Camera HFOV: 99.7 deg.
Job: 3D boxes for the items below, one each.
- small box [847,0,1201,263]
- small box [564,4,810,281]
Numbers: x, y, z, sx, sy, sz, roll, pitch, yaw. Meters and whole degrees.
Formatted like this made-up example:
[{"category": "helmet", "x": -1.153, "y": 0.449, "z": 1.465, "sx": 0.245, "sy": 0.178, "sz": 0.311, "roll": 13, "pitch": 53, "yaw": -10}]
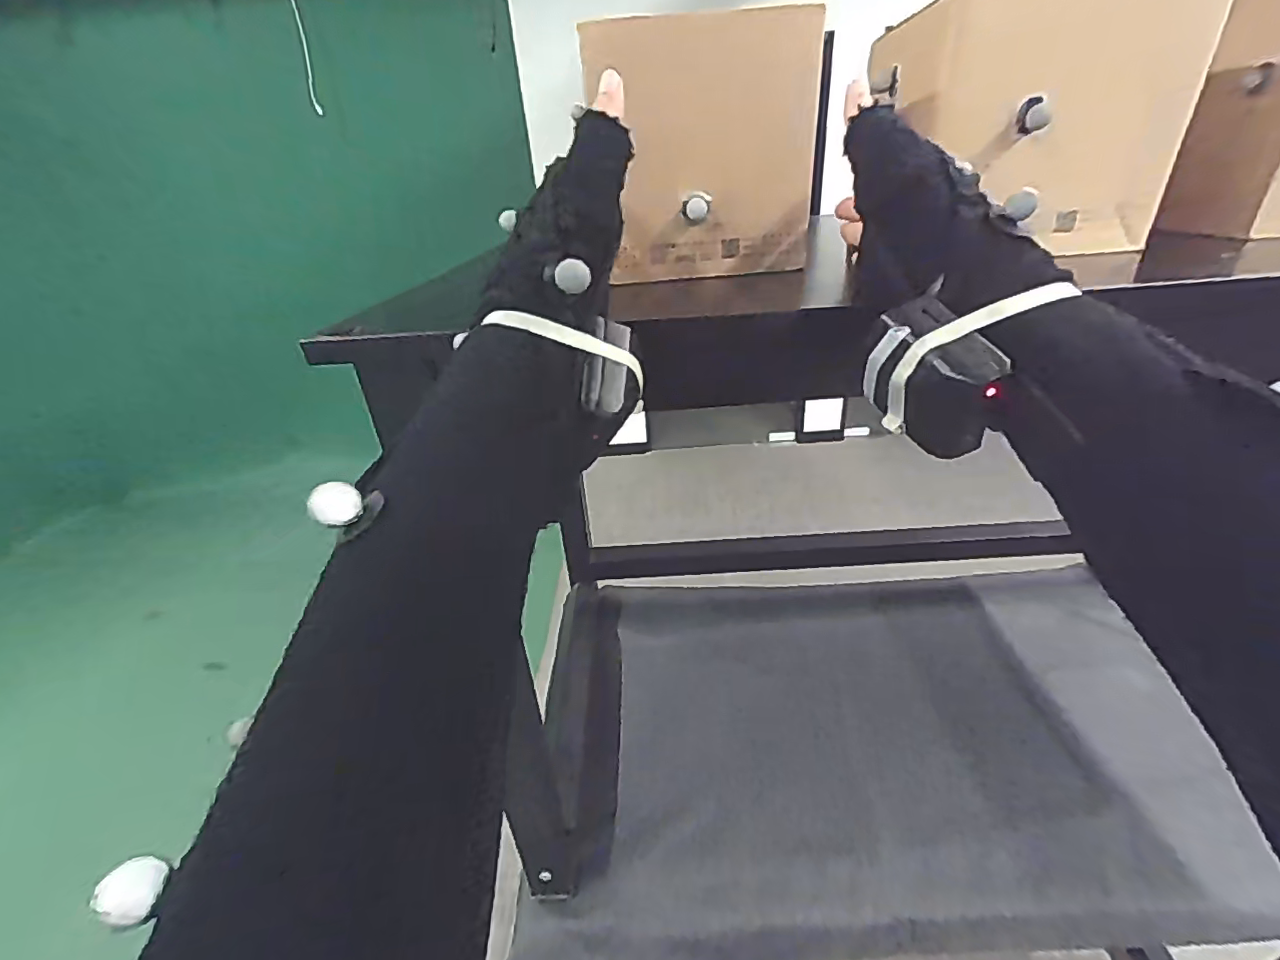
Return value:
[{"category": "small box", "x": 0.276, "y": -0.274, "z": 0.433, "sx": 0.168, "sy": 0.176, "sz": 0.179, "roll": -3, "pitch": 28, "yaw": 5}, {"category": "small box", "x": 0.033, "y": -0.272, "z": 0.463, "sx": 0.168, "sy": 0.176, "sz": 0.179, "roll": -5, "pitch": 30, "yaw": 0}]
